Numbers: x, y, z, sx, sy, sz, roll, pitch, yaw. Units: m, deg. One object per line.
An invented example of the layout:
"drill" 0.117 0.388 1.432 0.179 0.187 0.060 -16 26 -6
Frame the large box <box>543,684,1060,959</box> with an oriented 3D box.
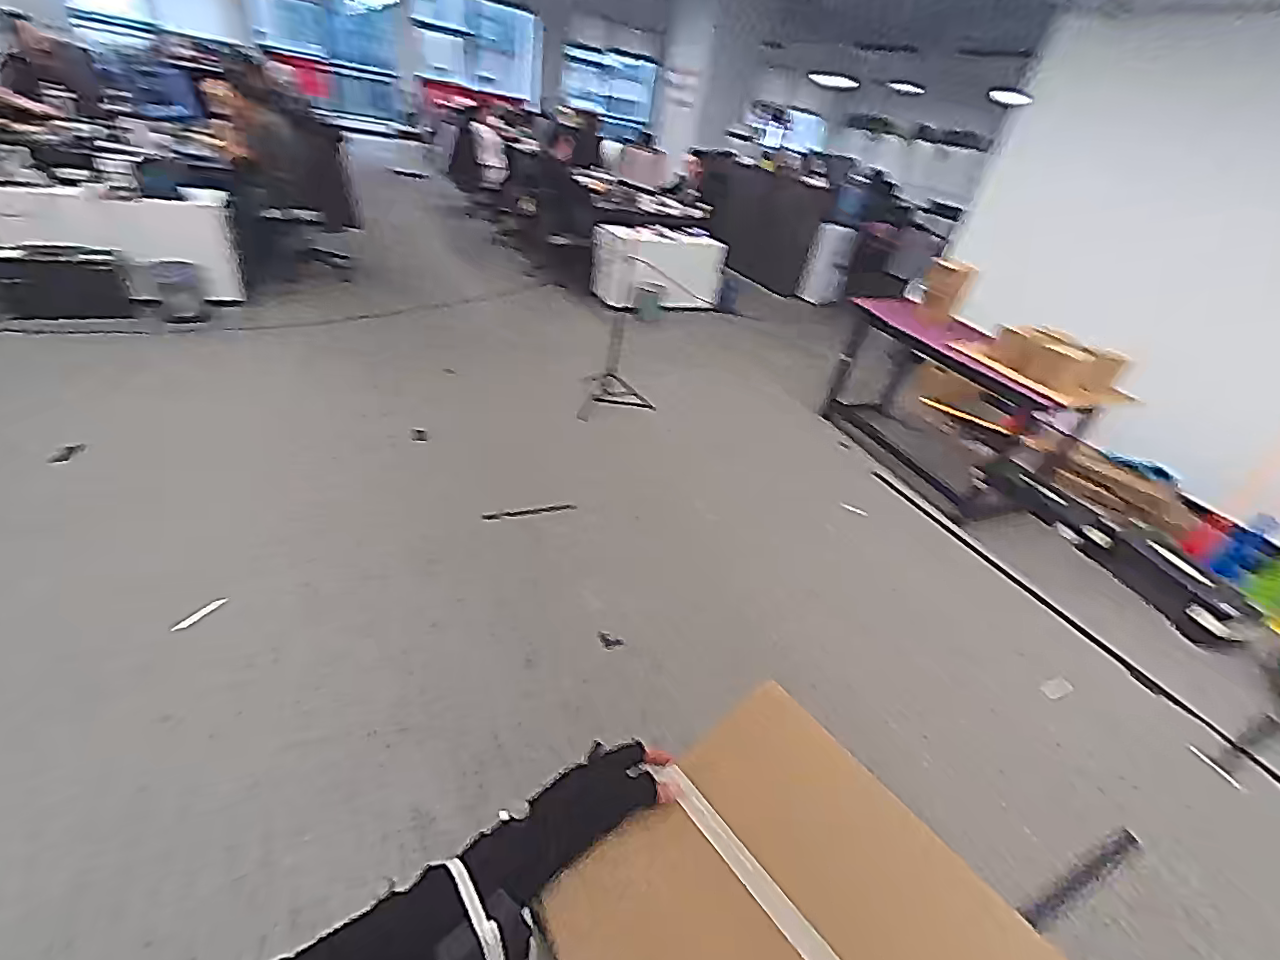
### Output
"large box" 0.142 0.502 0.530 0.320 0.320 0.408 -28 55 -32
